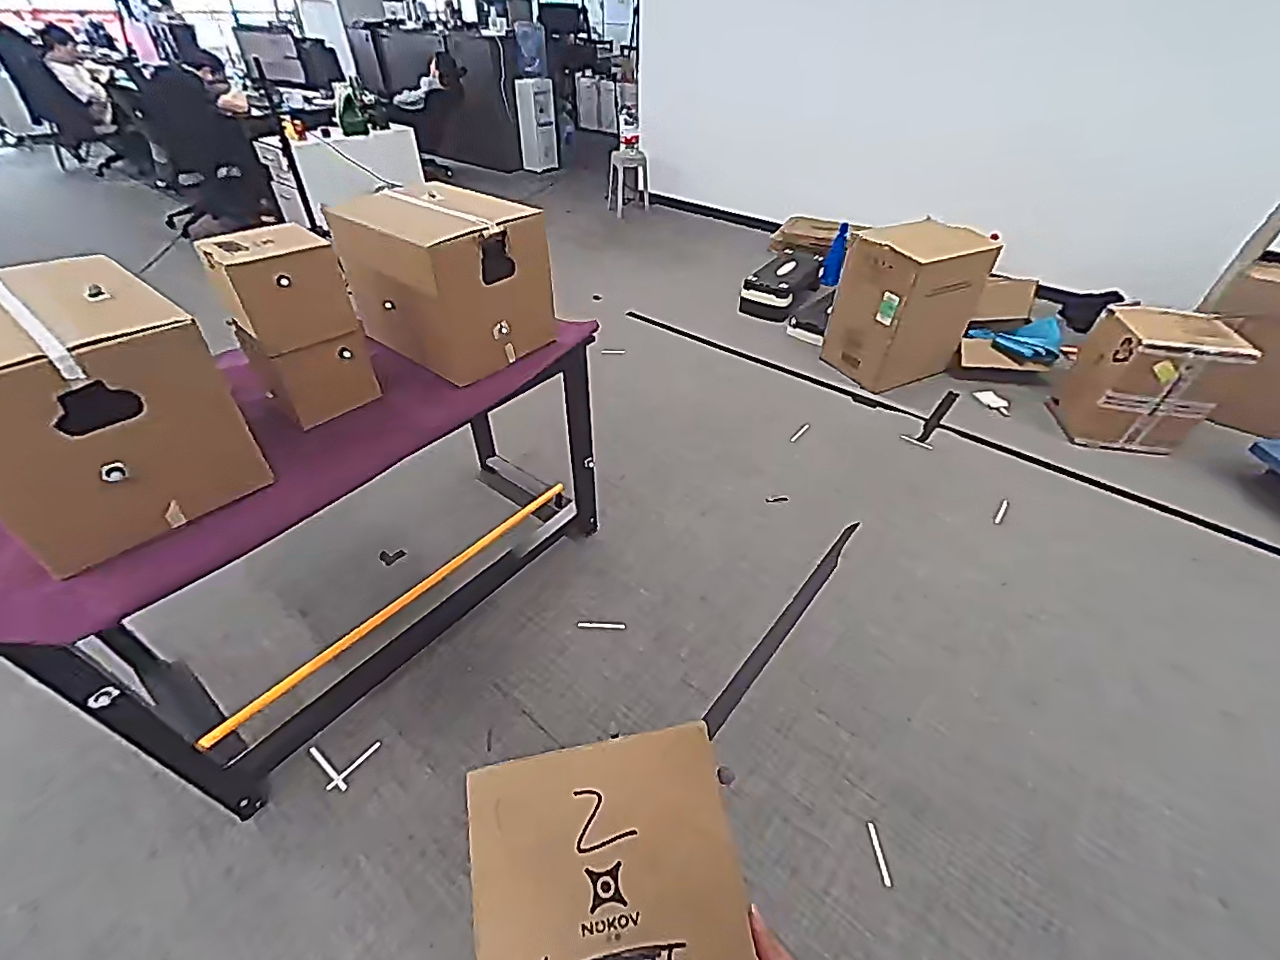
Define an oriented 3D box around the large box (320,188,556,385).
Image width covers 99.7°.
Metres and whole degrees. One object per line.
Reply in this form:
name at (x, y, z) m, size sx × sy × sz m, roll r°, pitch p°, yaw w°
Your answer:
large box at (-0.461, -0.473, 1.293) m, size 0.408 × 0.320 × 0.320 m, roll 27°, pitch 47°, yaw 28°
